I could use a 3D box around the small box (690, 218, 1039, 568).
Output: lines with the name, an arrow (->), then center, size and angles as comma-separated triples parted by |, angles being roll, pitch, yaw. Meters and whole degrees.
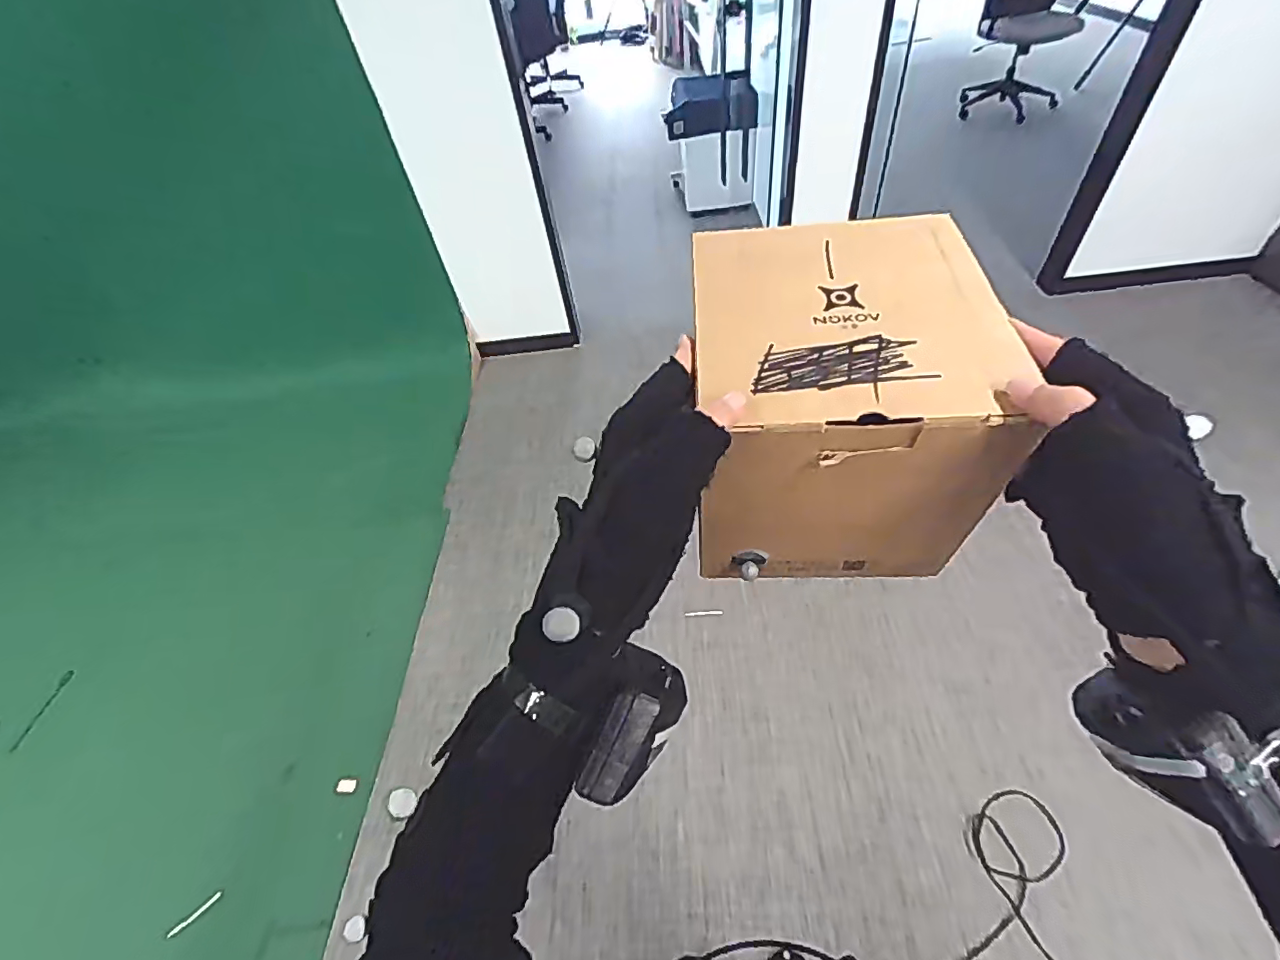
small box -> 0.121, -0.050, 0.374 | 0.168, 0.176, 0.179 | -1, 54, 6
